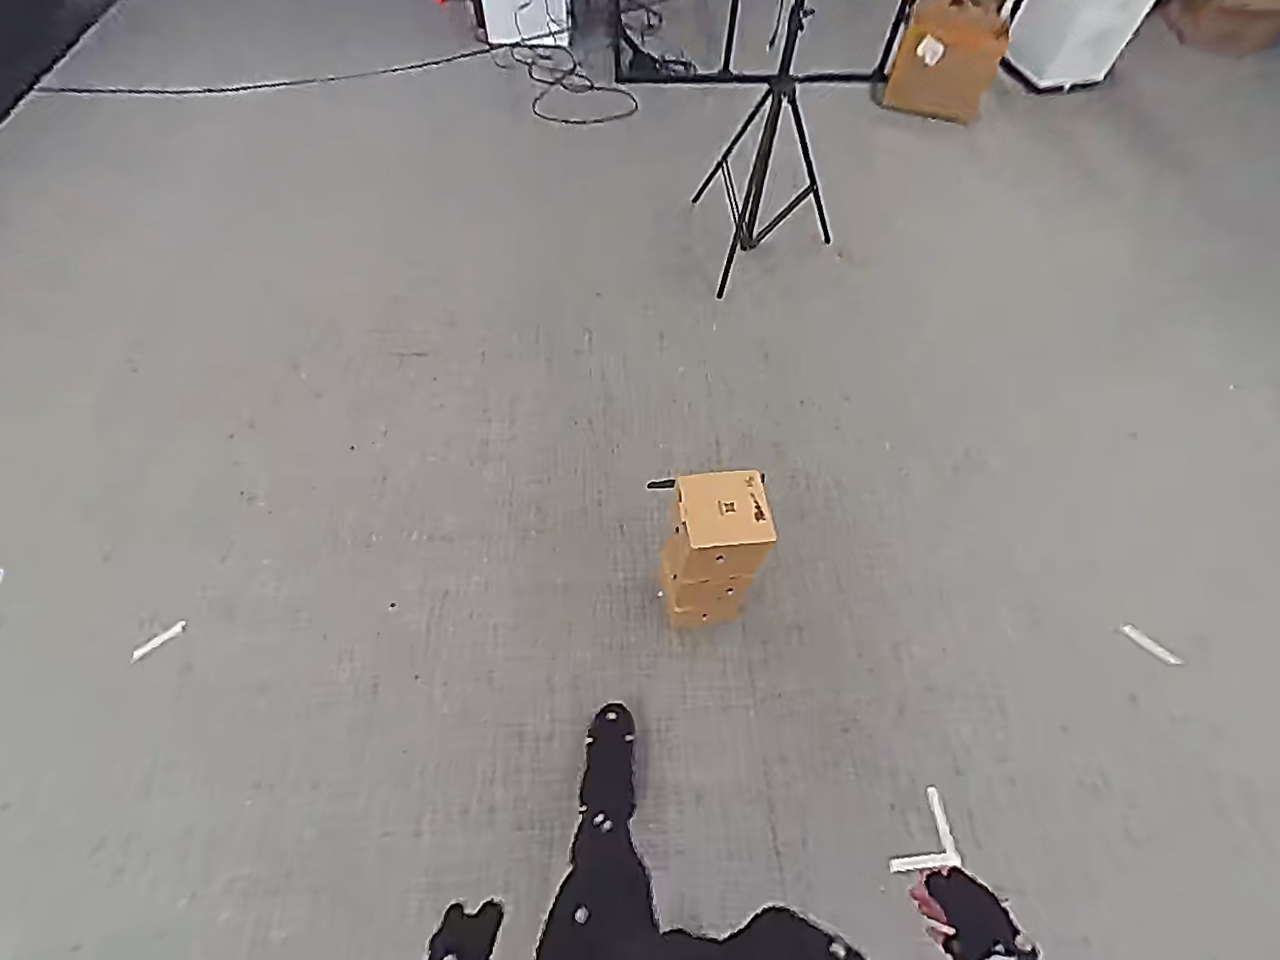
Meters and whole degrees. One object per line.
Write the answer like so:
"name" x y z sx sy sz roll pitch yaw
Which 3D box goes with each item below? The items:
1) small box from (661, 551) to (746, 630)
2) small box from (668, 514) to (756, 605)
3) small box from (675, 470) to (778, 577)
"small box" 0.157 0.279 1.411 0.179 0.176 0.168 -10 60 -6
"small box" 0.162 0.186 1.277 0.168 0.176 0.179 -5 59 -6
"small box" 0.171 0.097 1.140 0.179 0.176 0.168 -5 60 -5
